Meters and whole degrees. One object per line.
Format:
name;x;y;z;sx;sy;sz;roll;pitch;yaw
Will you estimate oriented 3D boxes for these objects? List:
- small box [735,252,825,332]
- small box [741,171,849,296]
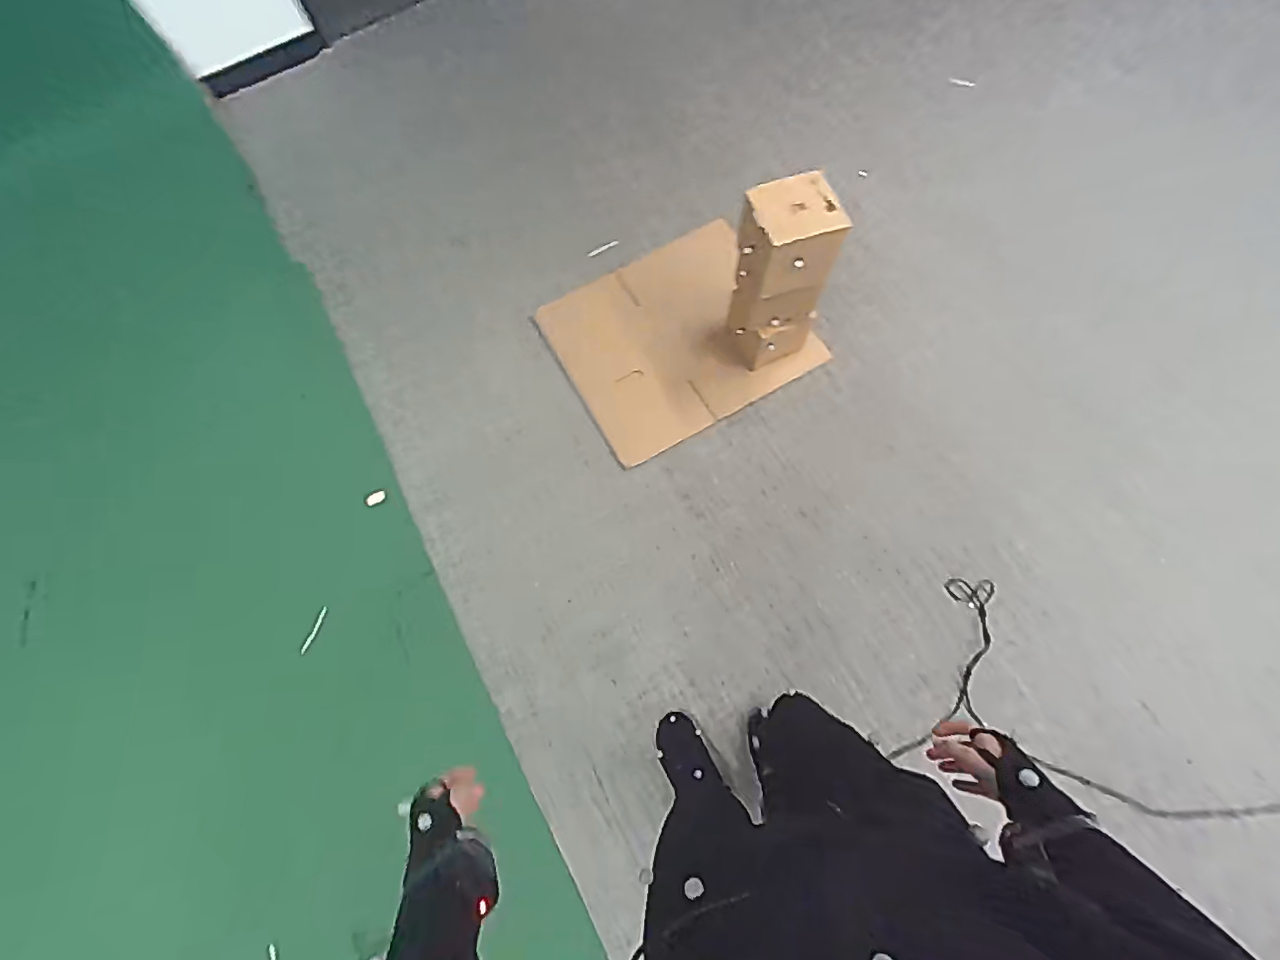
small box;0.345;-0.505;1.369;0.168;0.176;0.179;-9;71;-1
small box;0.334;-0.542;1.210;0.179;0.176;0.168;-18;71;-2
